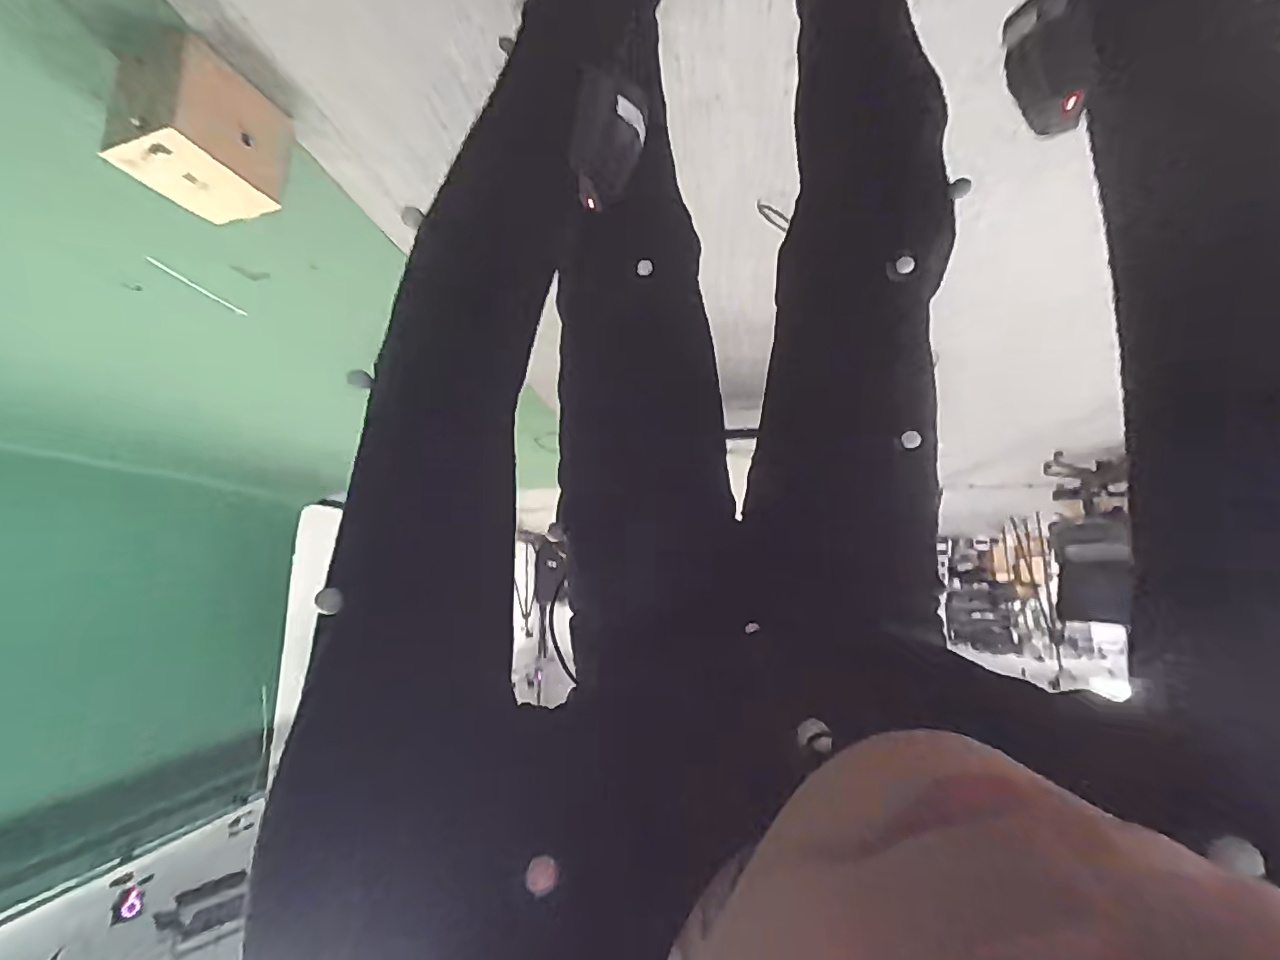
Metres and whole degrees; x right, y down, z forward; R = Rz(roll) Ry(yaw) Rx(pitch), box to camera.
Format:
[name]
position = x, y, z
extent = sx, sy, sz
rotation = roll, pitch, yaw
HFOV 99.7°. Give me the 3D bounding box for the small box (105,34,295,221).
[small box]
position = -0.700, -0.562, 0.880
extent = 0.168, 0.176, 0.179
rotation = -3, 169, 18
